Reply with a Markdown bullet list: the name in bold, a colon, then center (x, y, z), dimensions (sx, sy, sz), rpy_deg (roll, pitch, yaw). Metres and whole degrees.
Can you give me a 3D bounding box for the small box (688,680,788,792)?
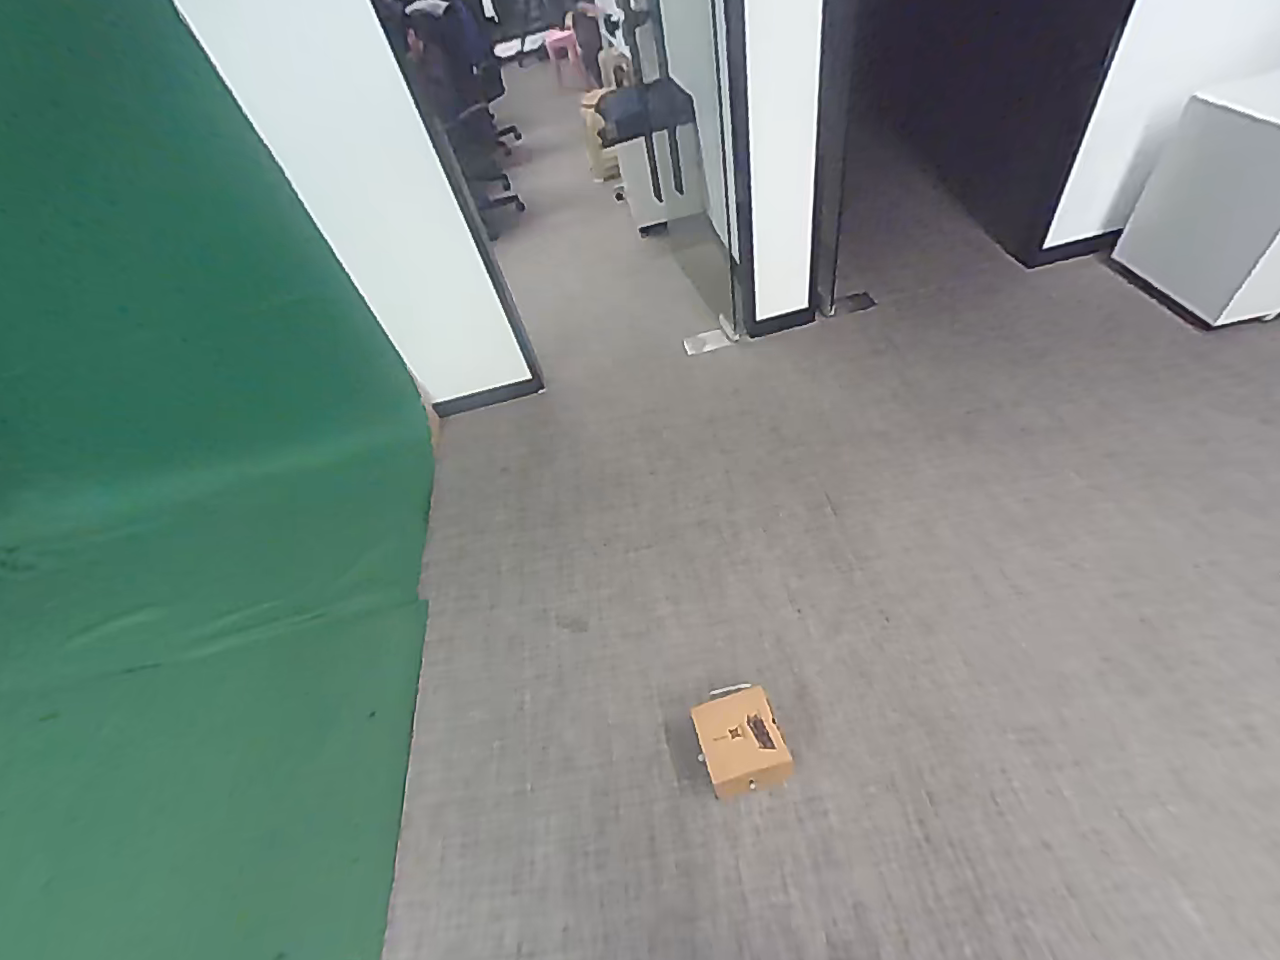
- **small box**: center (0.224, 0.596, 1.256), dimensions (0.179, 0.176, 0.168), rpy_deg (-19, 49, -4)
